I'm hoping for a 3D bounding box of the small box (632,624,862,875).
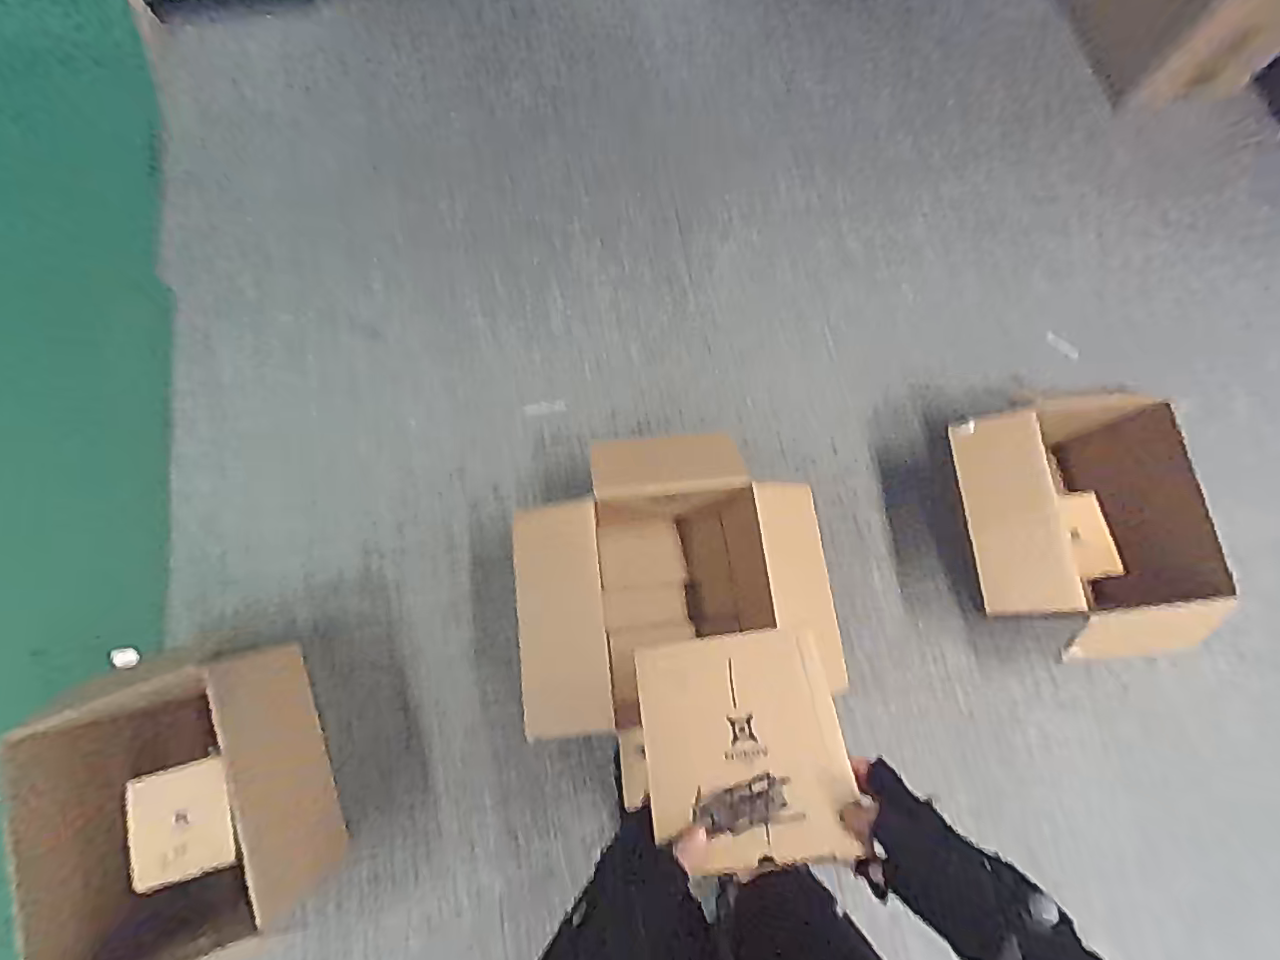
[{"bbox_3d":[0.089,0.255,0.522,0.168,0.176,0.179,-8,60,0],"label":"small box"}]
